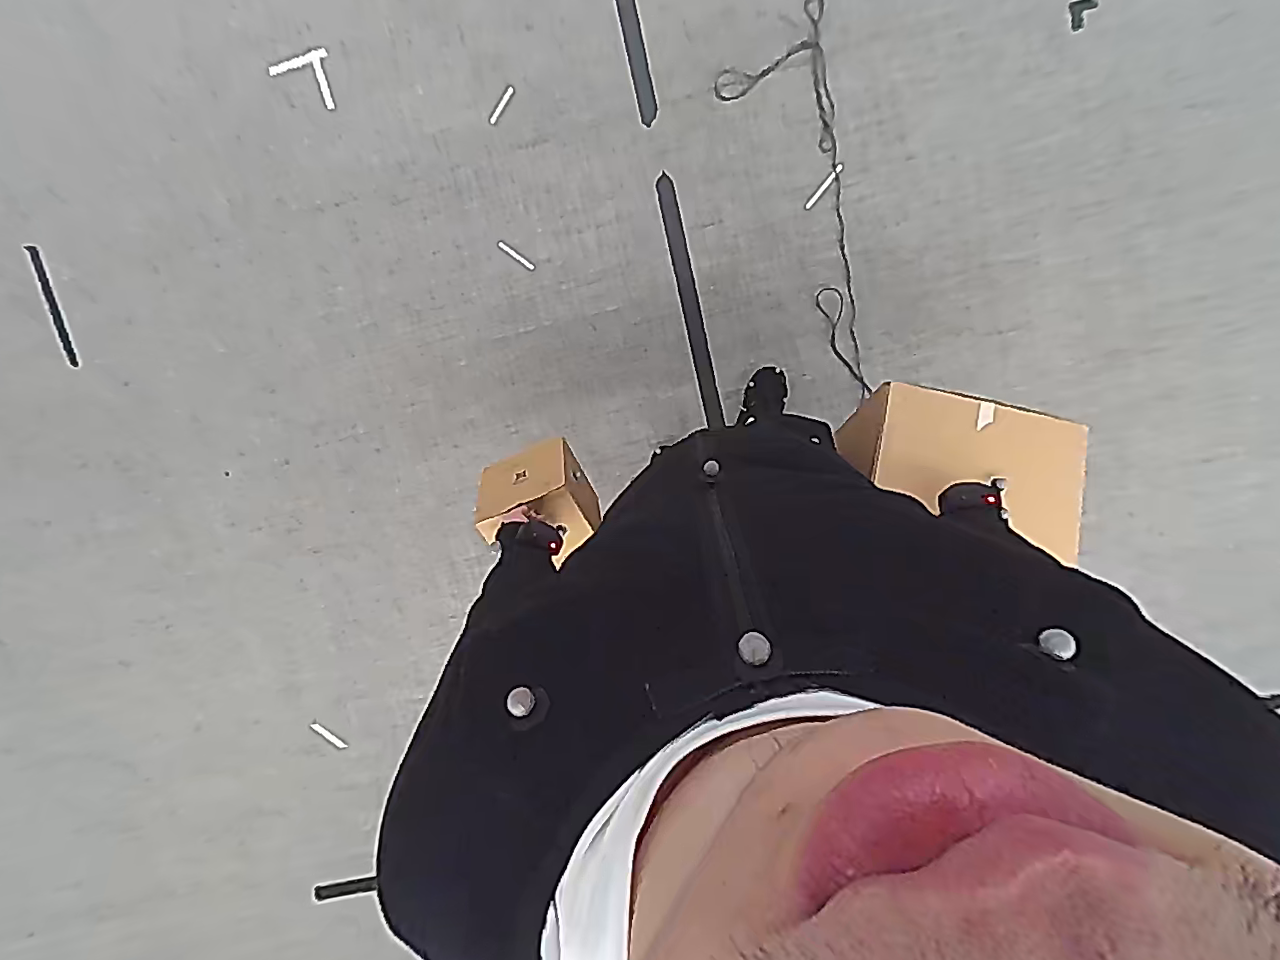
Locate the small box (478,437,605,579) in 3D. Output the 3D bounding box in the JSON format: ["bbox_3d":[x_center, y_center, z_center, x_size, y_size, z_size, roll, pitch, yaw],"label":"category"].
[{"bbox_3d":[-0.173,0.057,0.985,0.168,0.179,0.176,-22,123,5],"label":"small box"}]
